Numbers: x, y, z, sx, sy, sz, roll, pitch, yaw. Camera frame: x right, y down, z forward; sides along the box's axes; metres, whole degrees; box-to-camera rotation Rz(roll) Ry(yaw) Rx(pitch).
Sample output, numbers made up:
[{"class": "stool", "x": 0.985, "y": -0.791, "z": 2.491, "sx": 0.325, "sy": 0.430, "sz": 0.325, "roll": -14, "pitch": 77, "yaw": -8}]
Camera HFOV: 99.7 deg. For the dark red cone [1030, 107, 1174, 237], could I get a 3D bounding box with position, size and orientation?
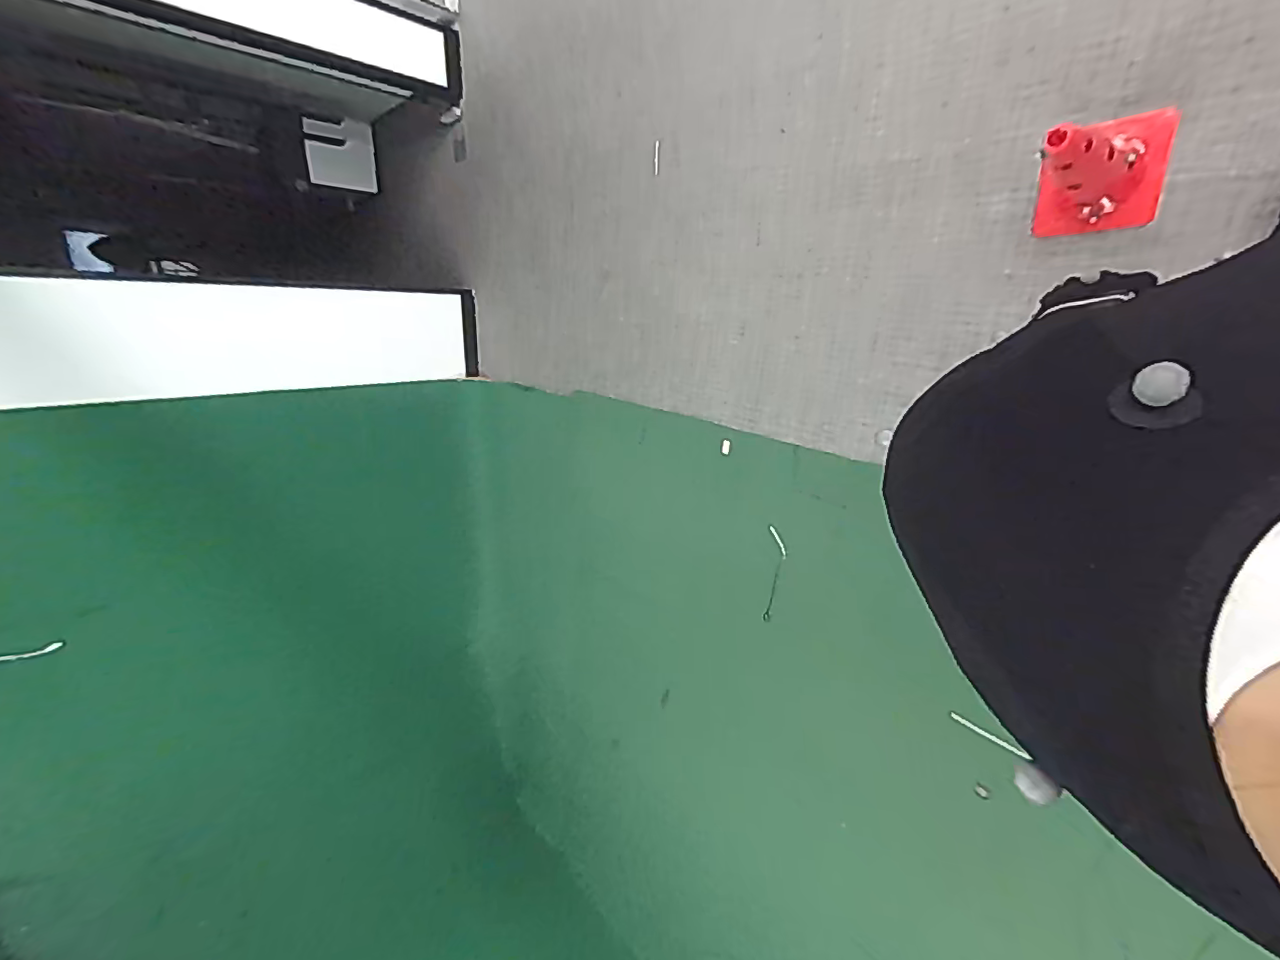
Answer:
[{"class": "dark red cone", "x": 0.780, "y": -0.563, "z": 0.956, "sx": 0.202, "sy": 0.394, "sz": 0.201, "roll": 14, "pitch": 112, "yaw": 46}]
